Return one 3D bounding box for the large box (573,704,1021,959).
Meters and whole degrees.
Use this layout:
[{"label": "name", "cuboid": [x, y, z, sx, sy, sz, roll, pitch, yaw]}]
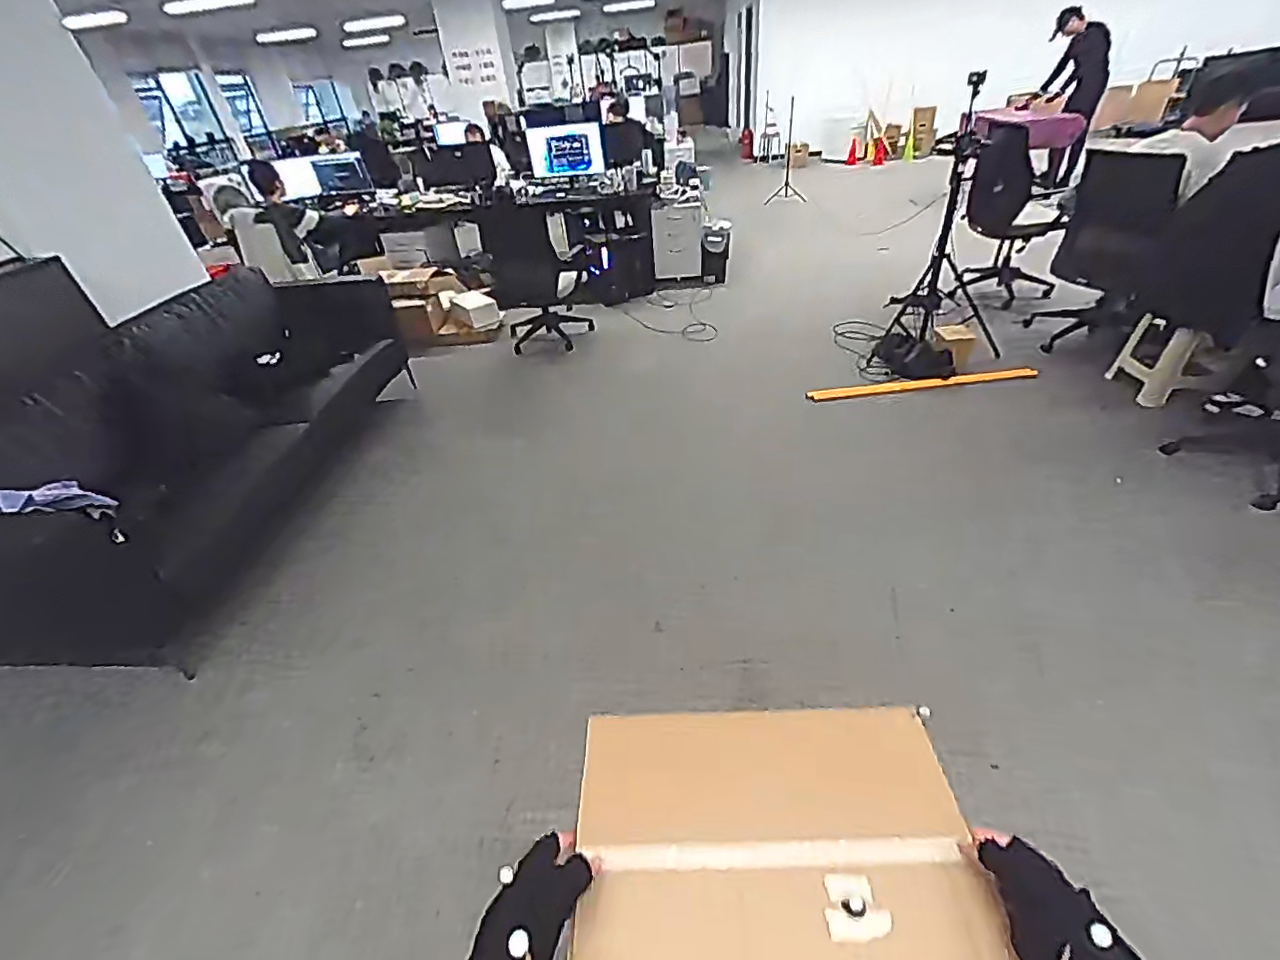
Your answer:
[{"label": "large box", "cuboid": [0.144, 0.498, 0.638, 0.408, 0.320, 0.320, -3, 36, 3]}]
